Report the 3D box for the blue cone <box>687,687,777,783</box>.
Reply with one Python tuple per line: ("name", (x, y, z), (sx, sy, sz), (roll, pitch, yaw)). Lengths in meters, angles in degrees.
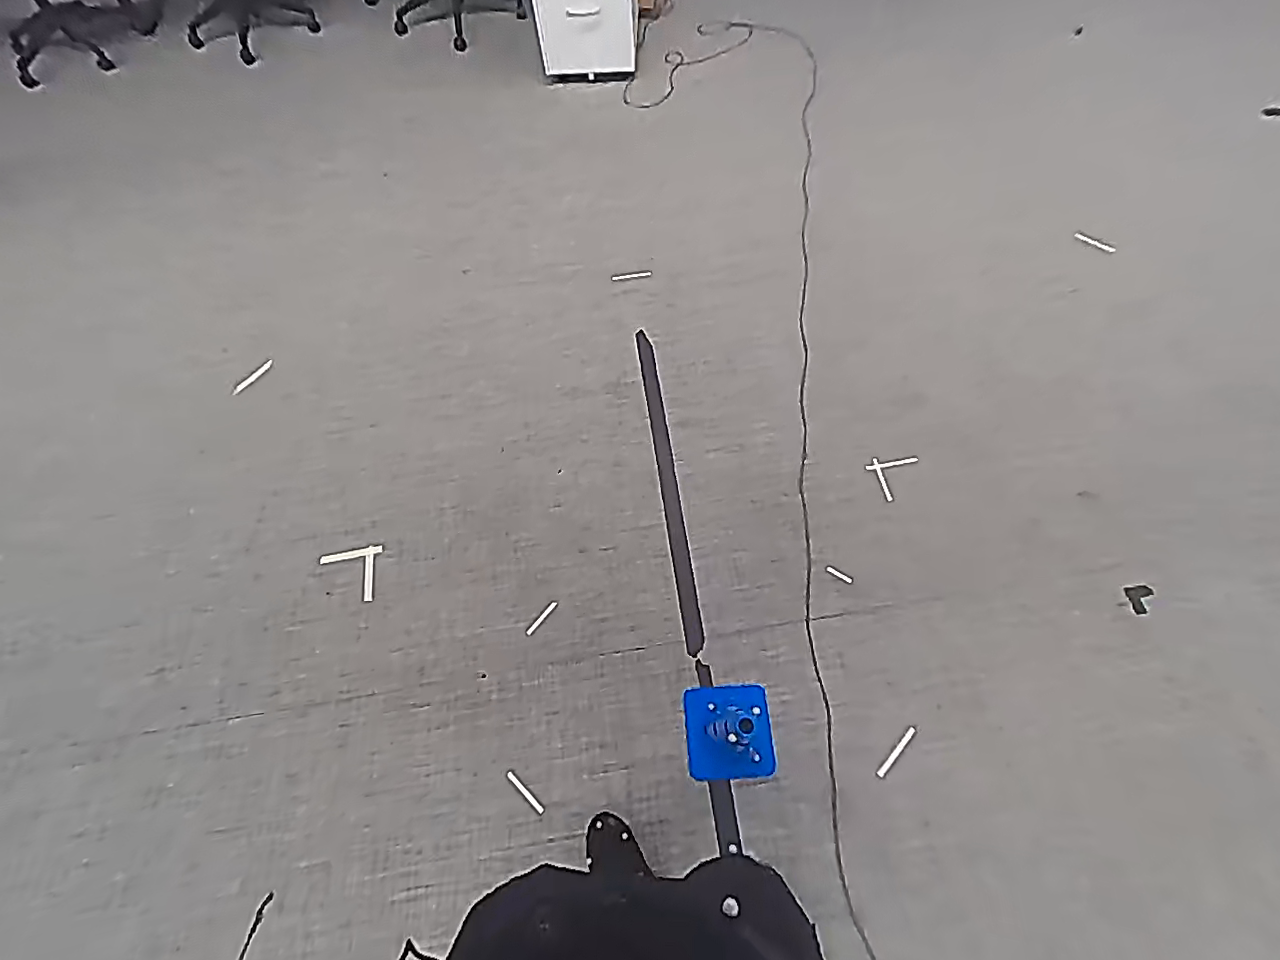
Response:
("blue cone", (0.202, 0.511, 1.103), (0.193, 0.380, 0.192), (-6, 63, 0))
